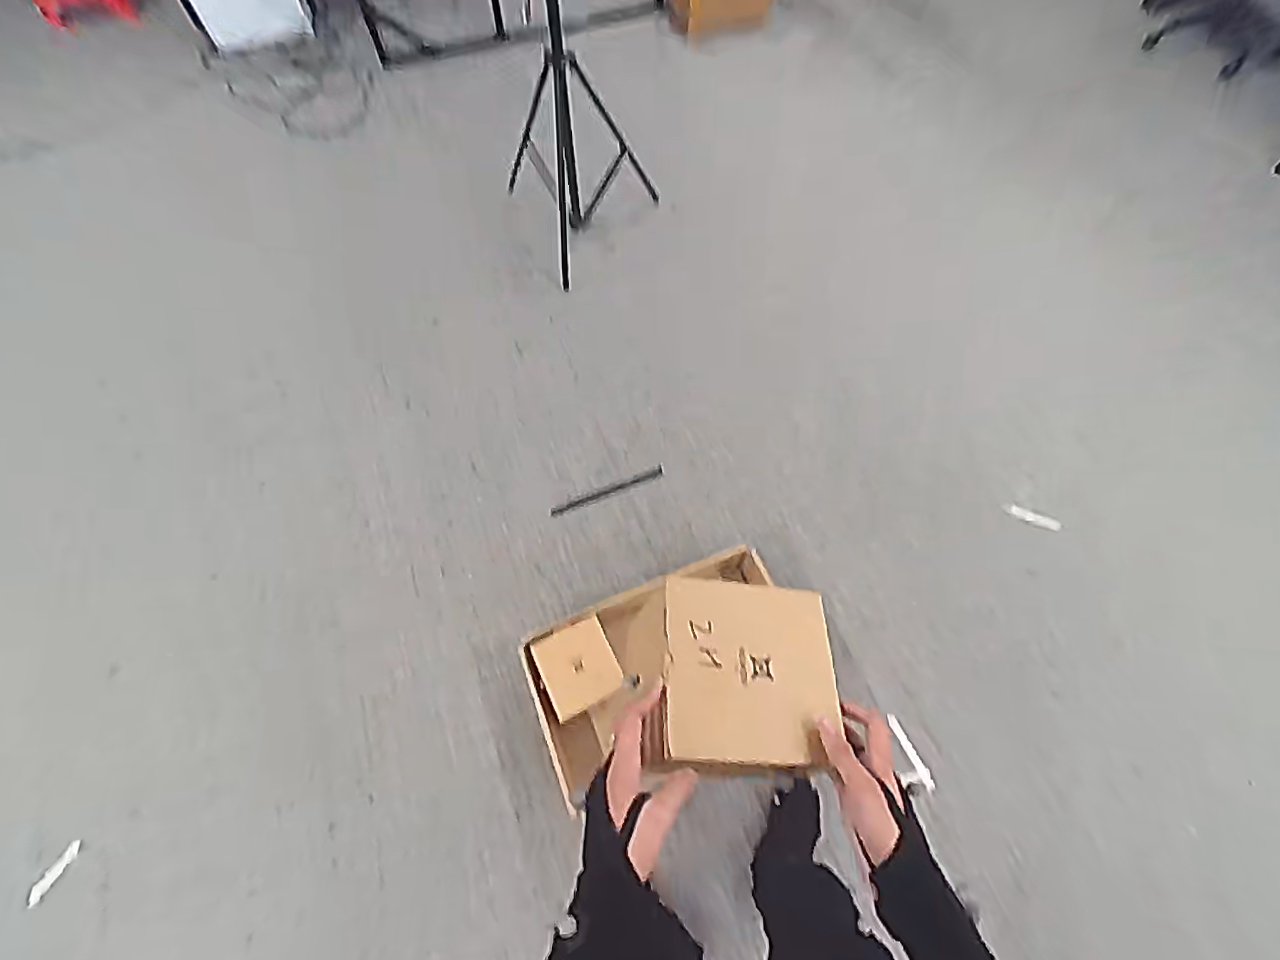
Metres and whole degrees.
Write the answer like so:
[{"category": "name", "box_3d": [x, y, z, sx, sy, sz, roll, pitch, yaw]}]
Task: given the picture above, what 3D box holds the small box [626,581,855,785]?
[{"category": "small box", "box_3d": [0.091, 0.221, 0.571, 0.179, 0.176, 0.168, 8, 57, -10]}]
